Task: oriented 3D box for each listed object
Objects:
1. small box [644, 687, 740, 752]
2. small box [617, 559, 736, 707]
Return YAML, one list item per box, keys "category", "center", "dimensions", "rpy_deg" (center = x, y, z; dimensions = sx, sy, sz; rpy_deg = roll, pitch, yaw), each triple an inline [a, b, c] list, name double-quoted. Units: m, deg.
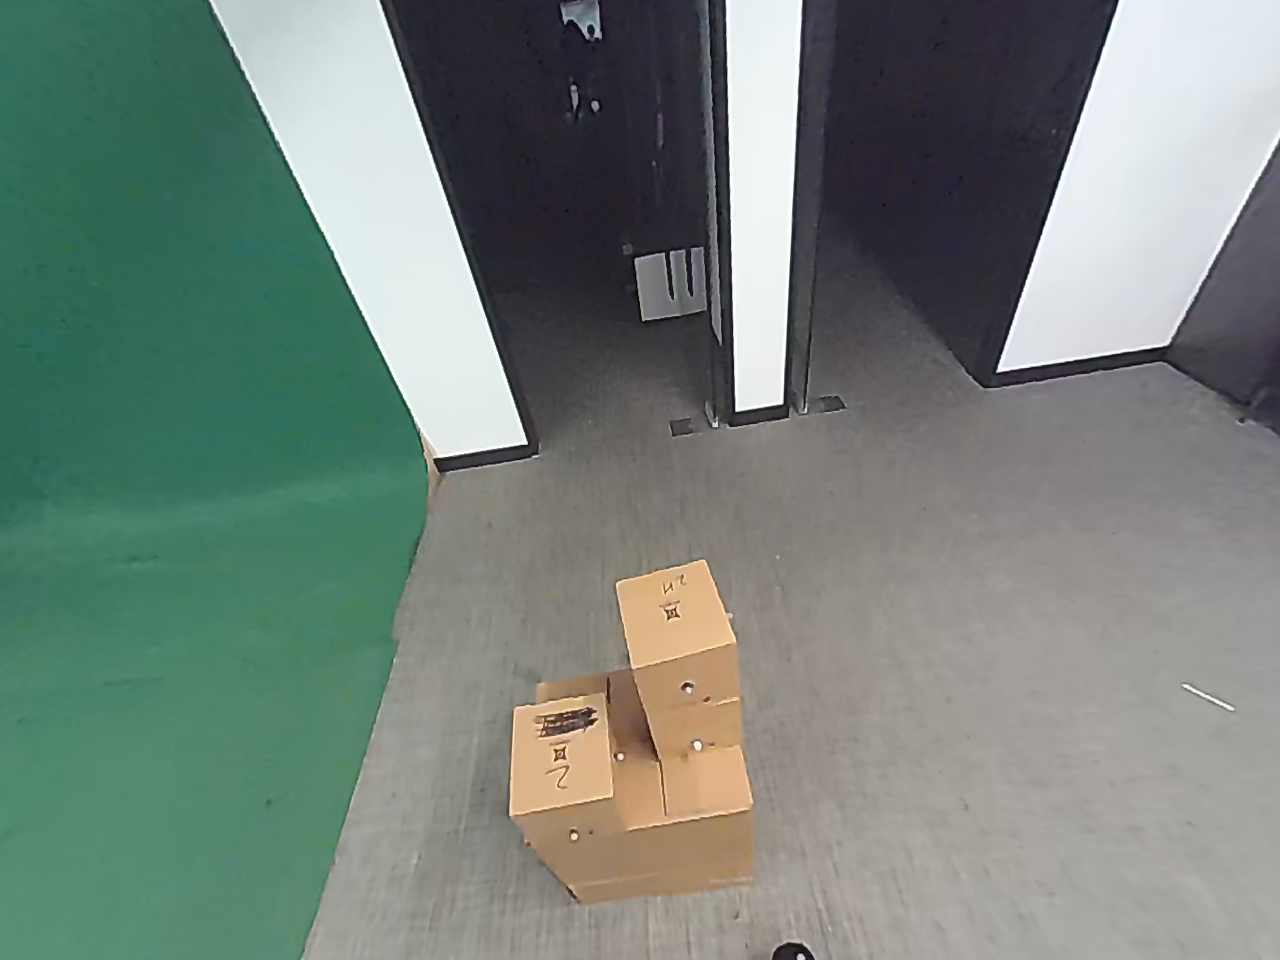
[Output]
- category: "small box"
  center: [0.091, 0.392, 1.044]
  dimensions: [0.168, 0.176, 0.179]
  rpy_deg: [-12, 42, 0]
- category: "small box"
  center: [0.064, 0.270, 0.935]
  dimensions: [0.168, 0.176, 0.179]
  rpy_deg: [-13, 41, -2]
